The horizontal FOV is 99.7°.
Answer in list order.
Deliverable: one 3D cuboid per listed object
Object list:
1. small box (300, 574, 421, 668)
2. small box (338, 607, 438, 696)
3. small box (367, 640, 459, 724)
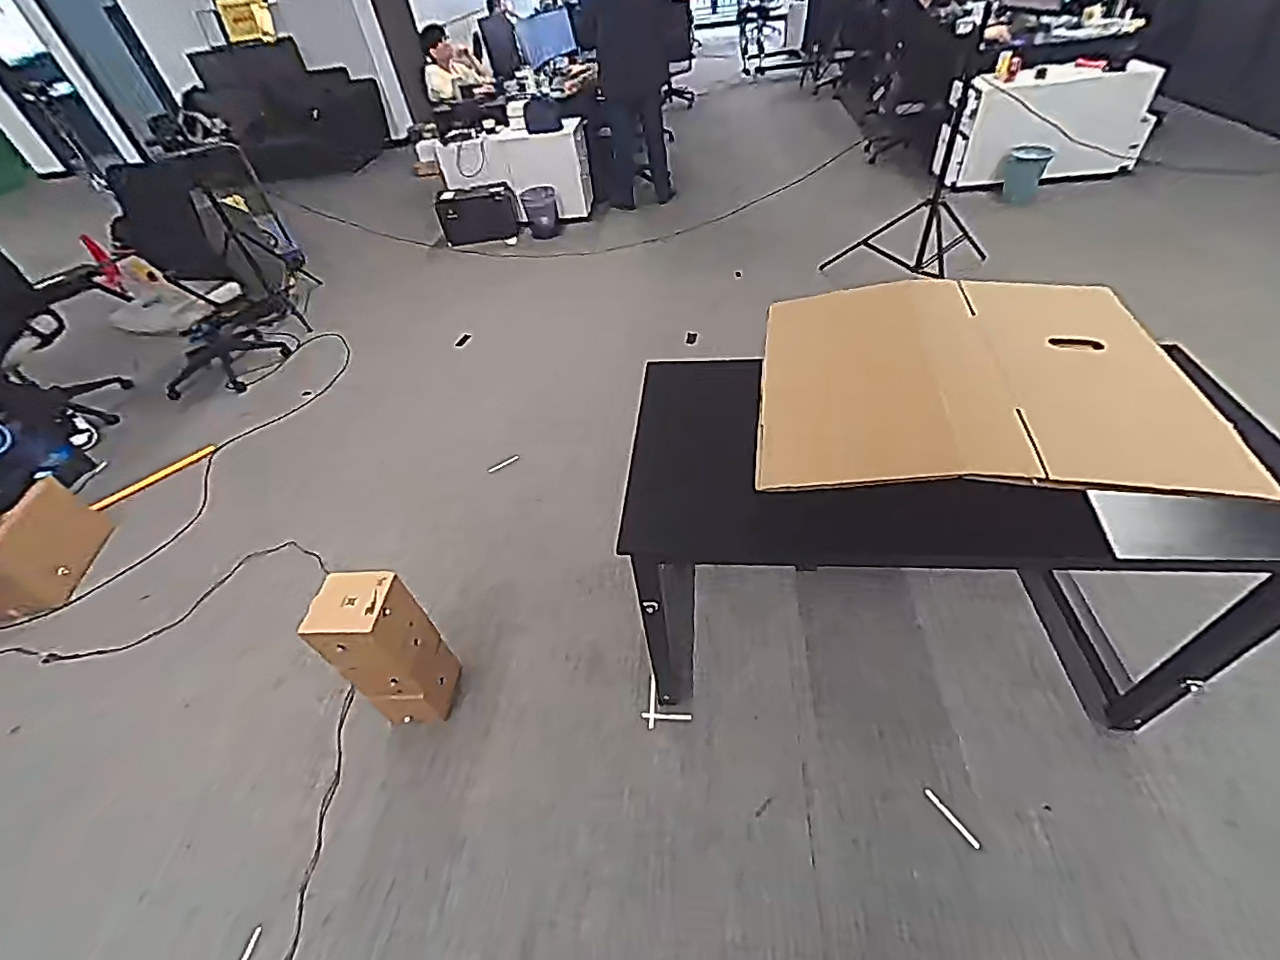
[{"bbox_3d":[-0.670,0.347,1.319,0.179,0.176,0.168,-3,45,5],"label":"small box"},{"bbox_3d":[-0.657,0.461,1.437,0.168,0.176,0.179,-5,43,2],"label":"small box"},{"bbox_3d":[-0.638,0.579,1.547,0.168,0.176,0.179,-3,46,5],"label":"small box"}]
